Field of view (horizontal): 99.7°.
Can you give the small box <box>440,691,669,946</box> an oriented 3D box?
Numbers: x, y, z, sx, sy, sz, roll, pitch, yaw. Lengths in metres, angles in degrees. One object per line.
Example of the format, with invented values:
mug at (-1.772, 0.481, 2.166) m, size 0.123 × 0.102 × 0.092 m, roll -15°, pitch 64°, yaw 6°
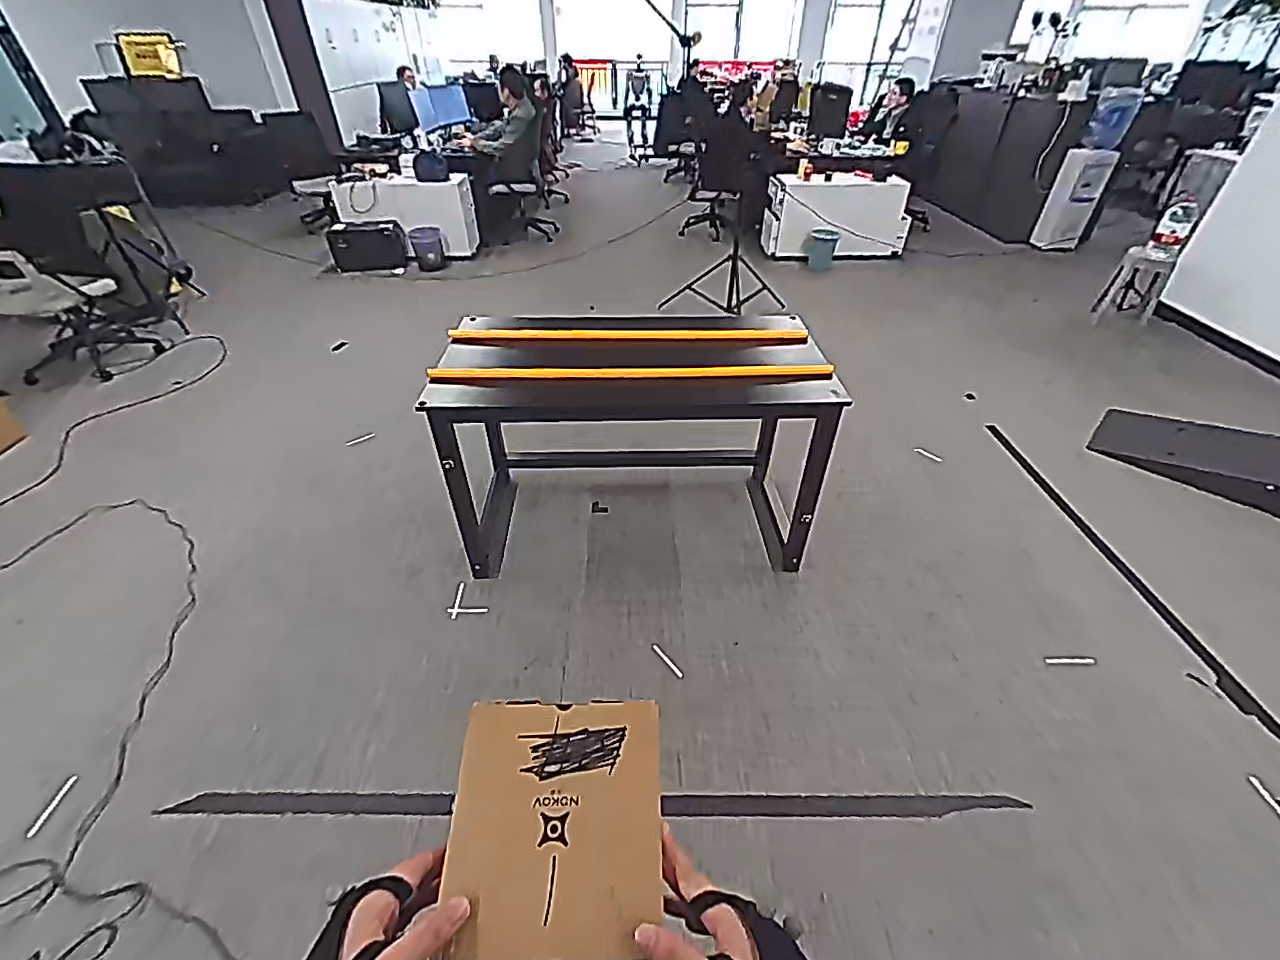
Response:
small box at (-0.063, 0.309, 0.495) m, size 0.168 × 0.176 × 0.179 m, roll -1°, pitch 52°, yaw -1°
